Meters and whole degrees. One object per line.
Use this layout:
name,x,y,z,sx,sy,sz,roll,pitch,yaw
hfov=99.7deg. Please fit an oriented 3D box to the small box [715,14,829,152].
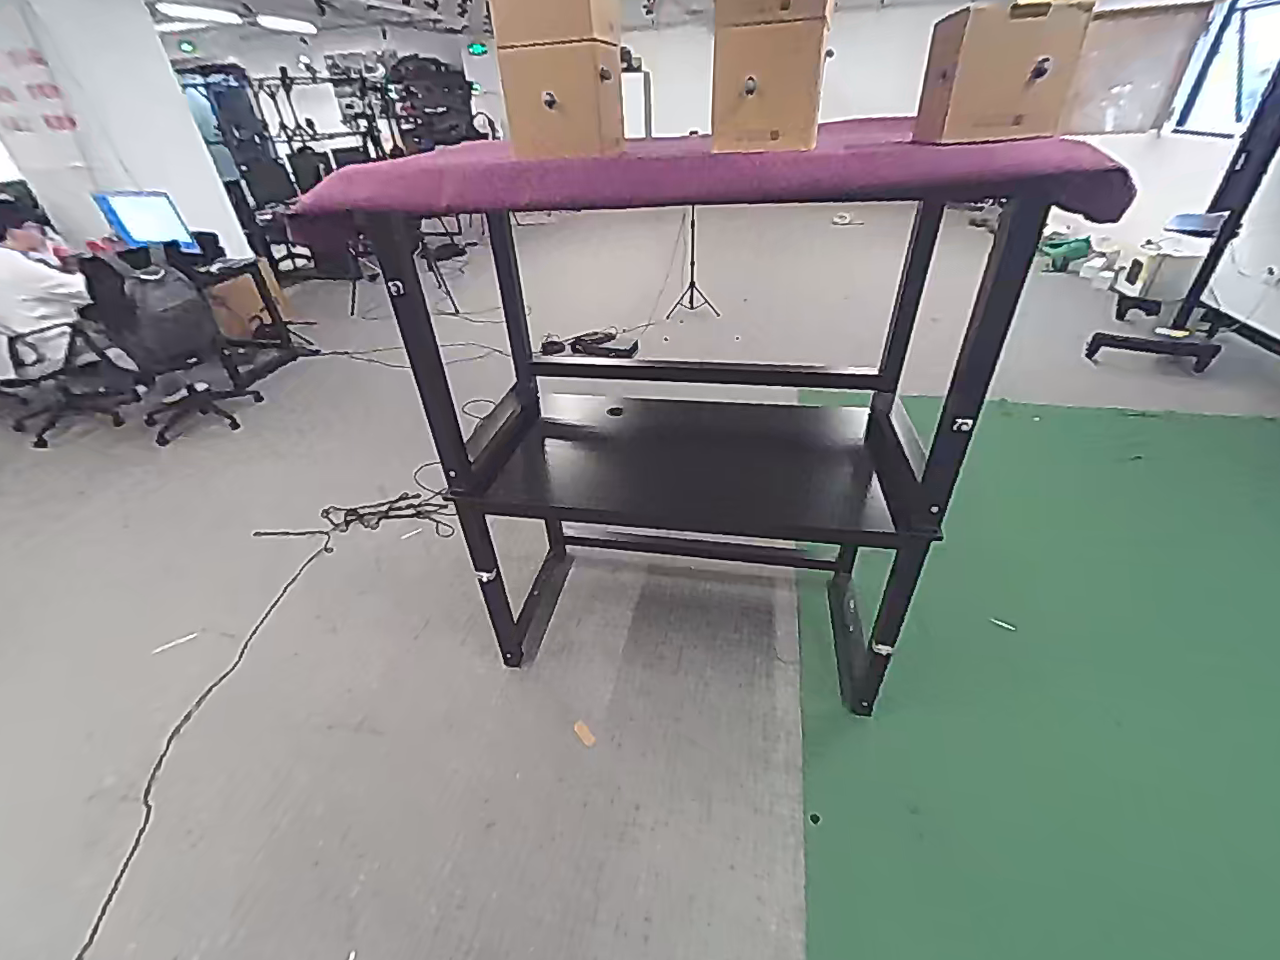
small box,0.221,-0.655,0.909,0.168,0.176,0.179,8,35,15

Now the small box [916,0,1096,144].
small box,0.558,-0.635,0.854,0.168,0.176,0.179,3,33,9

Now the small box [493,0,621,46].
small box,-0.135,-0.829,0.892,0.179,0.176,0.168,6,36,13

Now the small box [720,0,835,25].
small box,0.217,-0.792,0.819,0.168,0.176,0.179,8,36,15
